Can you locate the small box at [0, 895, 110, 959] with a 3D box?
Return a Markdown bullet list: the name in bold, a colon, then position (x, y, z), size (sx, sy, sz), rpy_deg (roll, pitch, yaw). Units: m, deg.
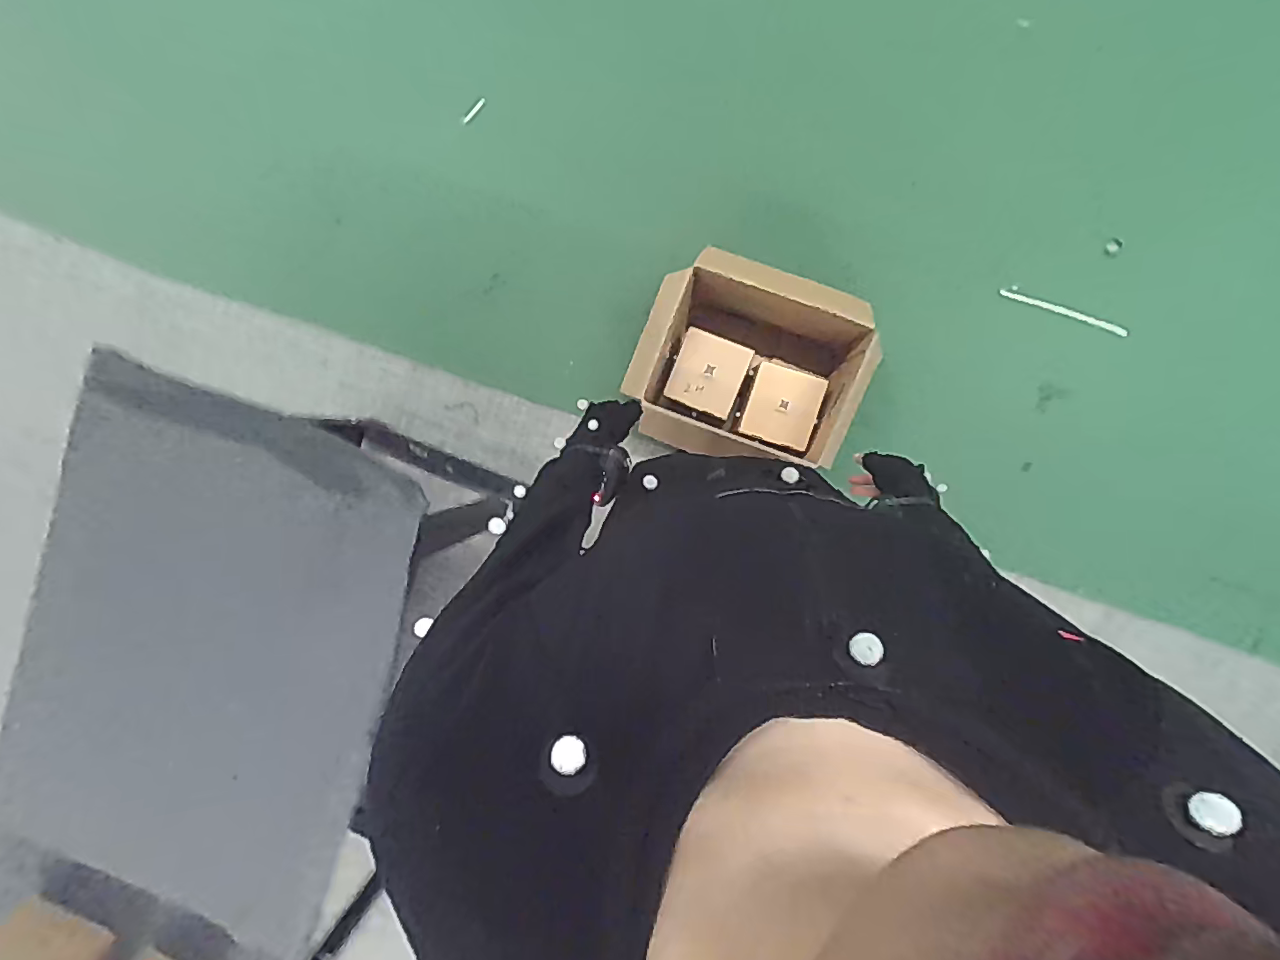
- **small box**: position (-1.015, 0.821, 0.863), size (0.179, 0.176, 0.168), rpy_deg (20, 96, 5)
